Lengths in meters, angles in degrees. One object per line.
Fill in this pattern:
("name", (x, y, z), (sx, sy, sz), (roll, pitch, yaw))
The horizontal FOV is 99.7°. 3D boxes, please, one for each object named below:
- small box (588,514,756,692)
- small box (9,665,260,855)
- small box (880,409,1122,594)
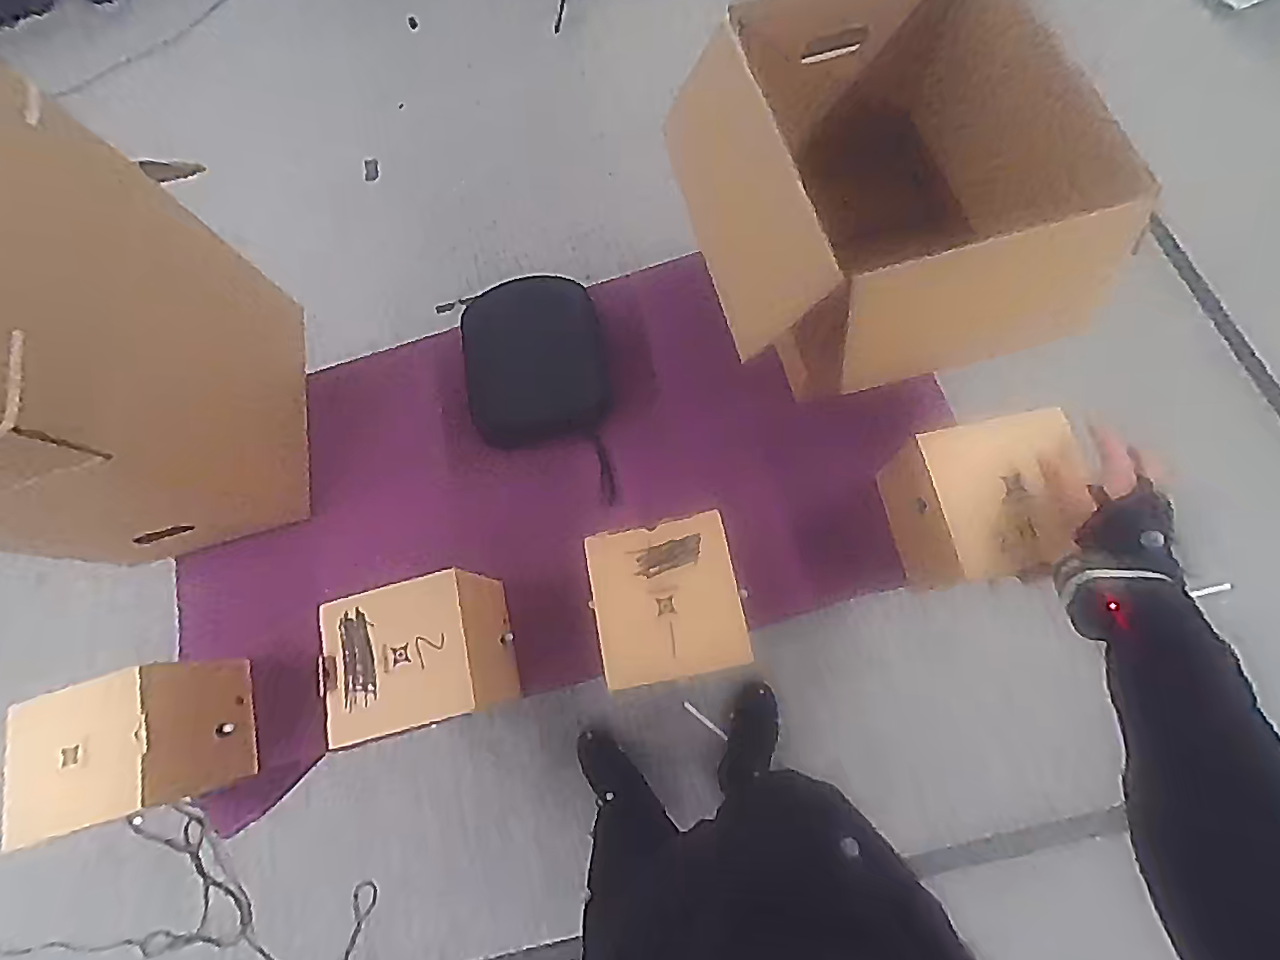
("small box", (0.040, 0.158, 0.686), (0.168, 0.176, 0.179), (-13, 74, 4))
("small box", (-0.650, 0.354, 0.715), (0.179, 0.176, 0.168), (-18, 72, 0))
("small box", (0.422, 0.036, 0.672), (0.168, 0.176, 0.179), (-12, 73, 5))
